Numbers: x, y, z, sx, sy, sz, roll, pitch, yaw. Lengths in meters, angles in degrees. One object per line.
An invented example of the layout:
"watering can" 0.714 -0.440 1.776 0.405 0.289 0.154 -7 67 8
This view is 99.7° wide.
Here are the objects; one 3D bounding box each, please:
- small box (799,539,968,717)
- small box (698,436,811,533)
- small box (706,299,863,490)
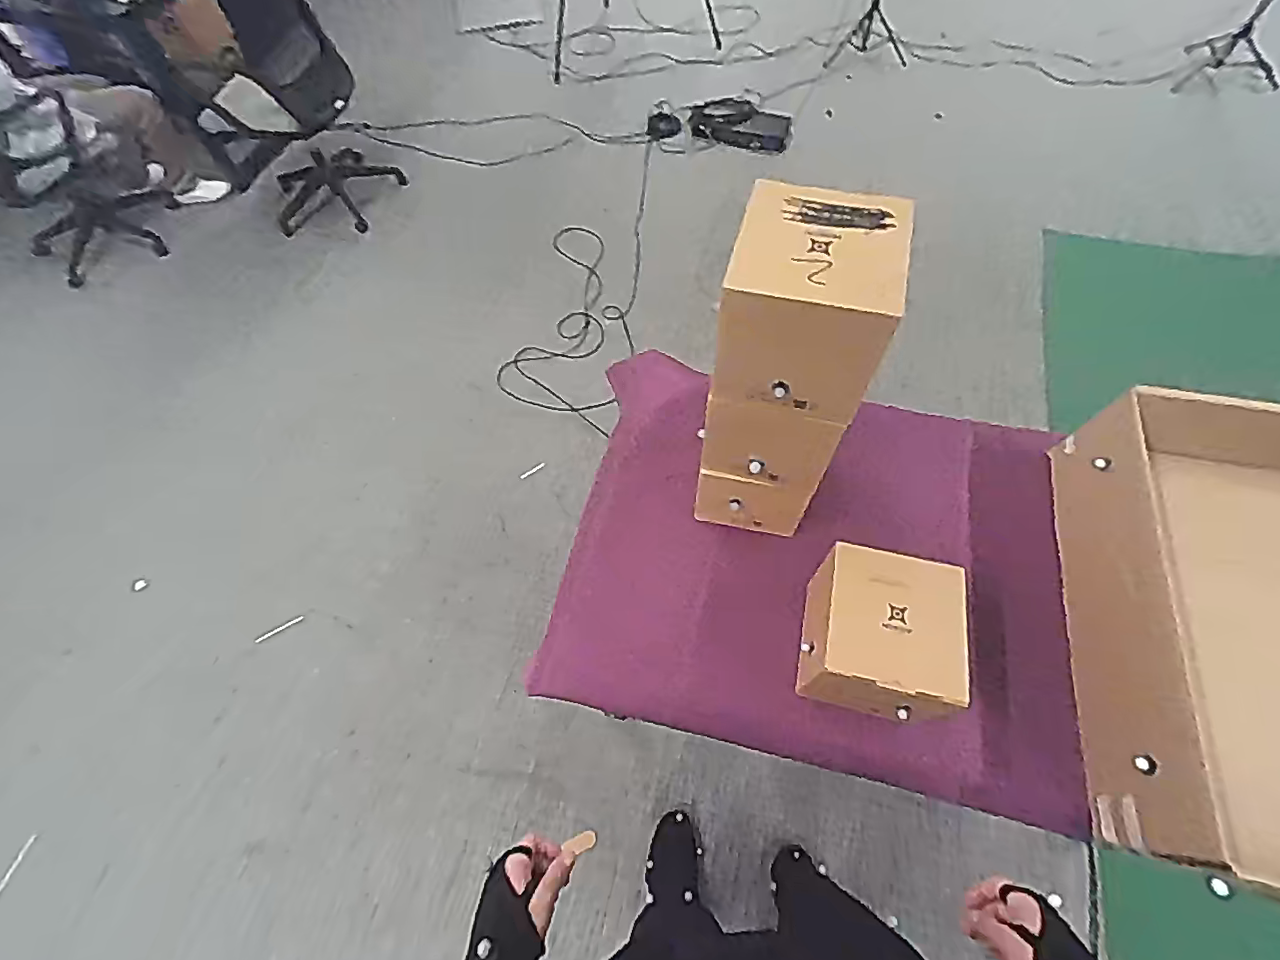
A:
"small box" 0.323 0.209 0.740 0.168 0.176 0.179 12 60 9
"small box" 0.191 -0.031 0.887 0.168 0.176 0.179 10 61 9
"small box" 0.190 -0.113 0.745 0.168 0.176 0.179 14 62 11
